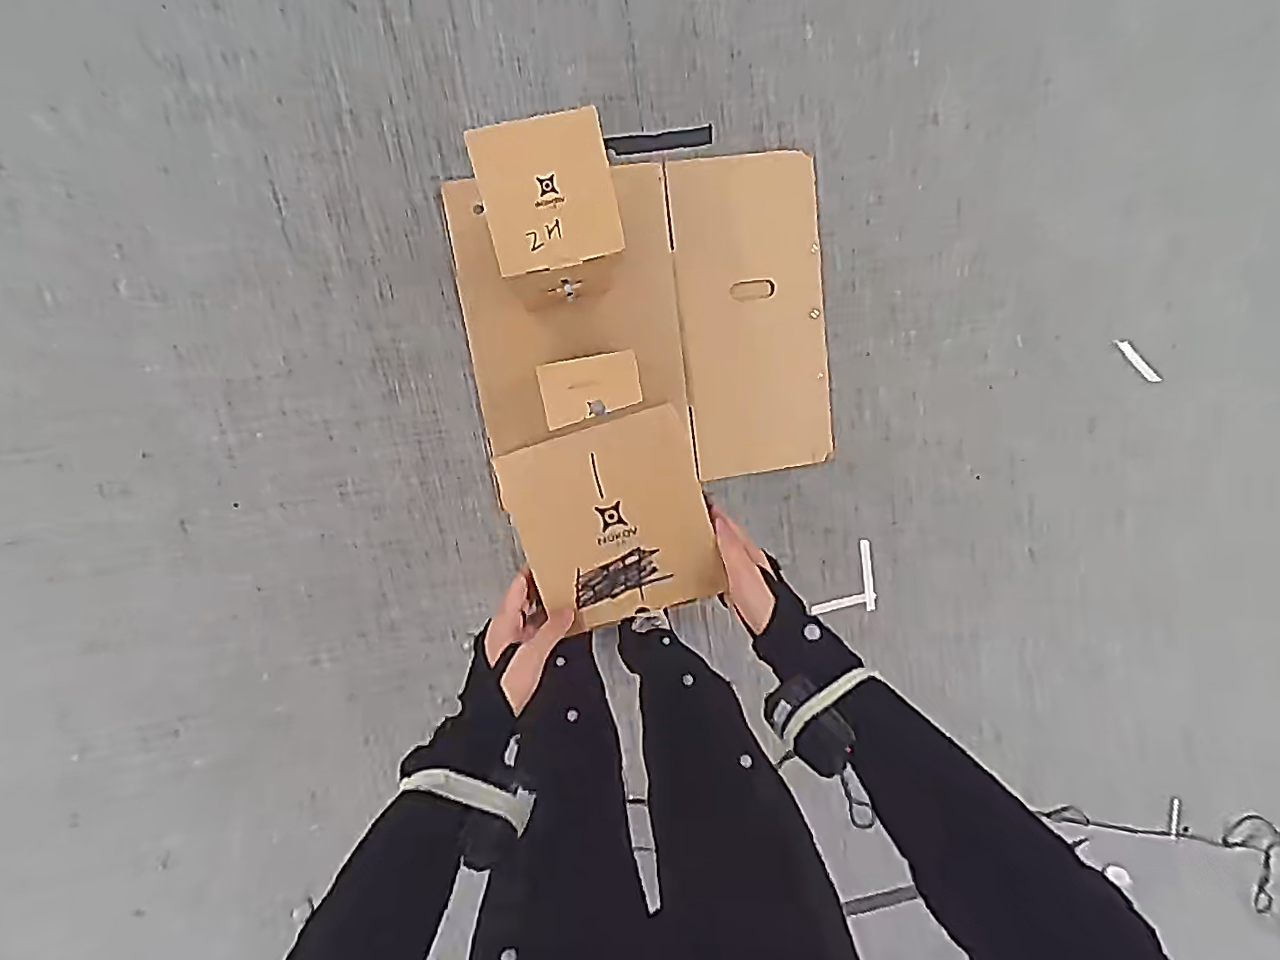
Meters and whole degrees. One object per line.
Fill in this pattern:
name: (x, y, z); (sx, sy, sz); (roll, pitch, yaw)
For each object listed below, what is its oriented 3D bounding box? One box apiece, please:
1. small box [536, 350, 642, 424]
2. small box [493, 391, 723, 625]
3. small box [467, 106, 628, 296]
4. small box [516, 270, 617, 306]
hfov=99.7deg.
small box: (-0.086, -0.130, 0.969); (0.168, 0.176, 0.179); (-12, 102, -7)
small box: (-0.023, 0.016, 0.550); (0.168, 0.176, 0.179); (-17, 100, 4)
small box: (-0.123, -0.370, 0.746); (0.168, 0.176, 0.179); (-14, 103, -5)
small box: (-0.143, -0.399, 0.907); (0.168, 0.176, 0.179); (-17, 103, -6)
